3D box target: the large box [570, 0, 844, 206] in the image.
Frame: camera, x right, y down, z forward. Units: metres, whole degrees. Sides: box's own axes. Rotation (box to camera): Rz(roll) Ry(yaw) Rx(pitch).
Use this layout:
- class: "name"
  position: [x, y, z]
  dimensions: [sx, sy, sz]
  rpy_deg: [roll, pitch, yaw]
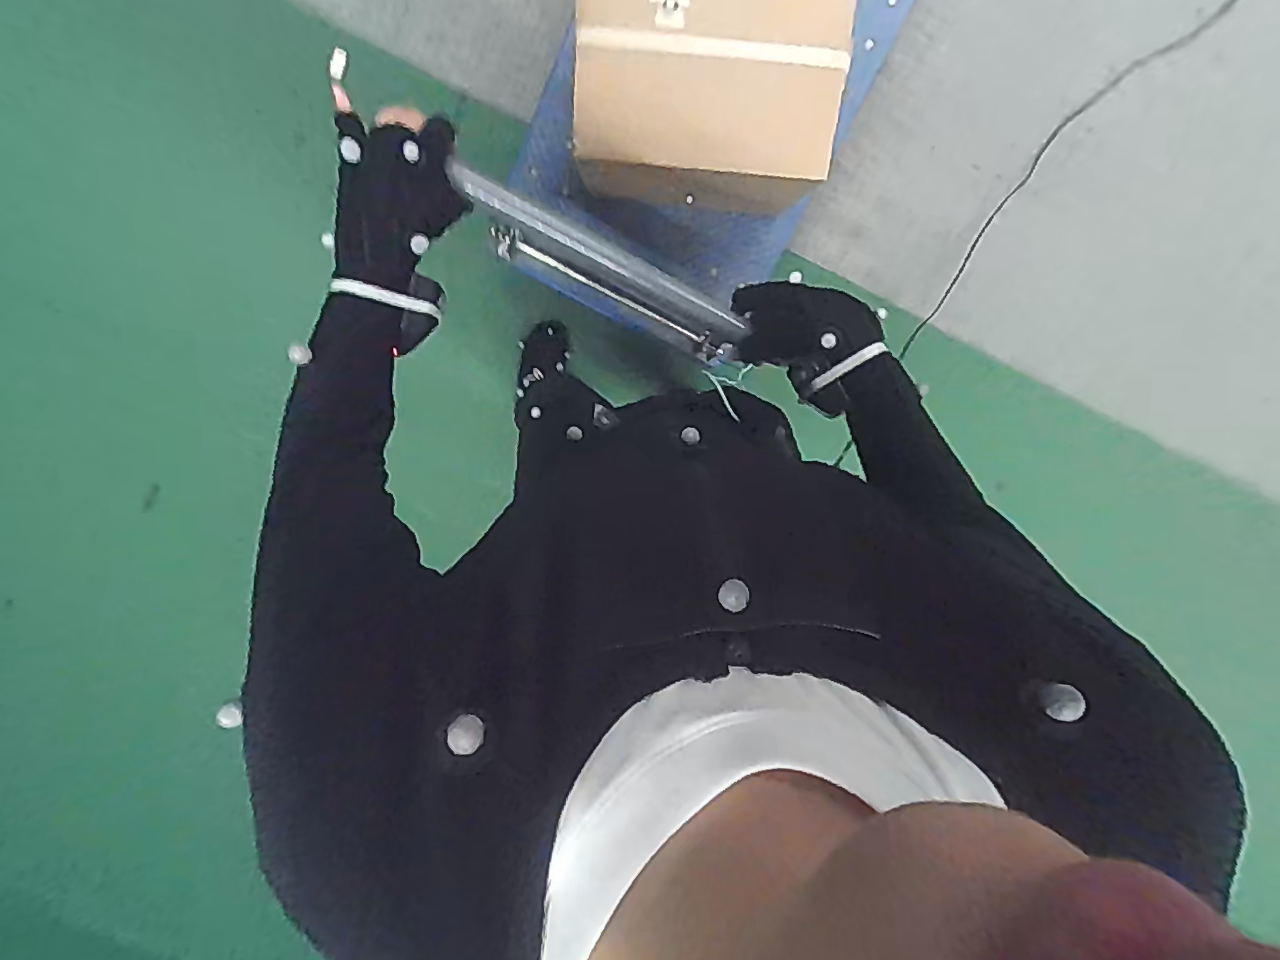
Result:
- class: "large box"
  position: [0.100, -0.682, 0.948]
  dimensions: [0.408, 0.320, 0.320]
  rpy_deg: [4, 107, 0]
